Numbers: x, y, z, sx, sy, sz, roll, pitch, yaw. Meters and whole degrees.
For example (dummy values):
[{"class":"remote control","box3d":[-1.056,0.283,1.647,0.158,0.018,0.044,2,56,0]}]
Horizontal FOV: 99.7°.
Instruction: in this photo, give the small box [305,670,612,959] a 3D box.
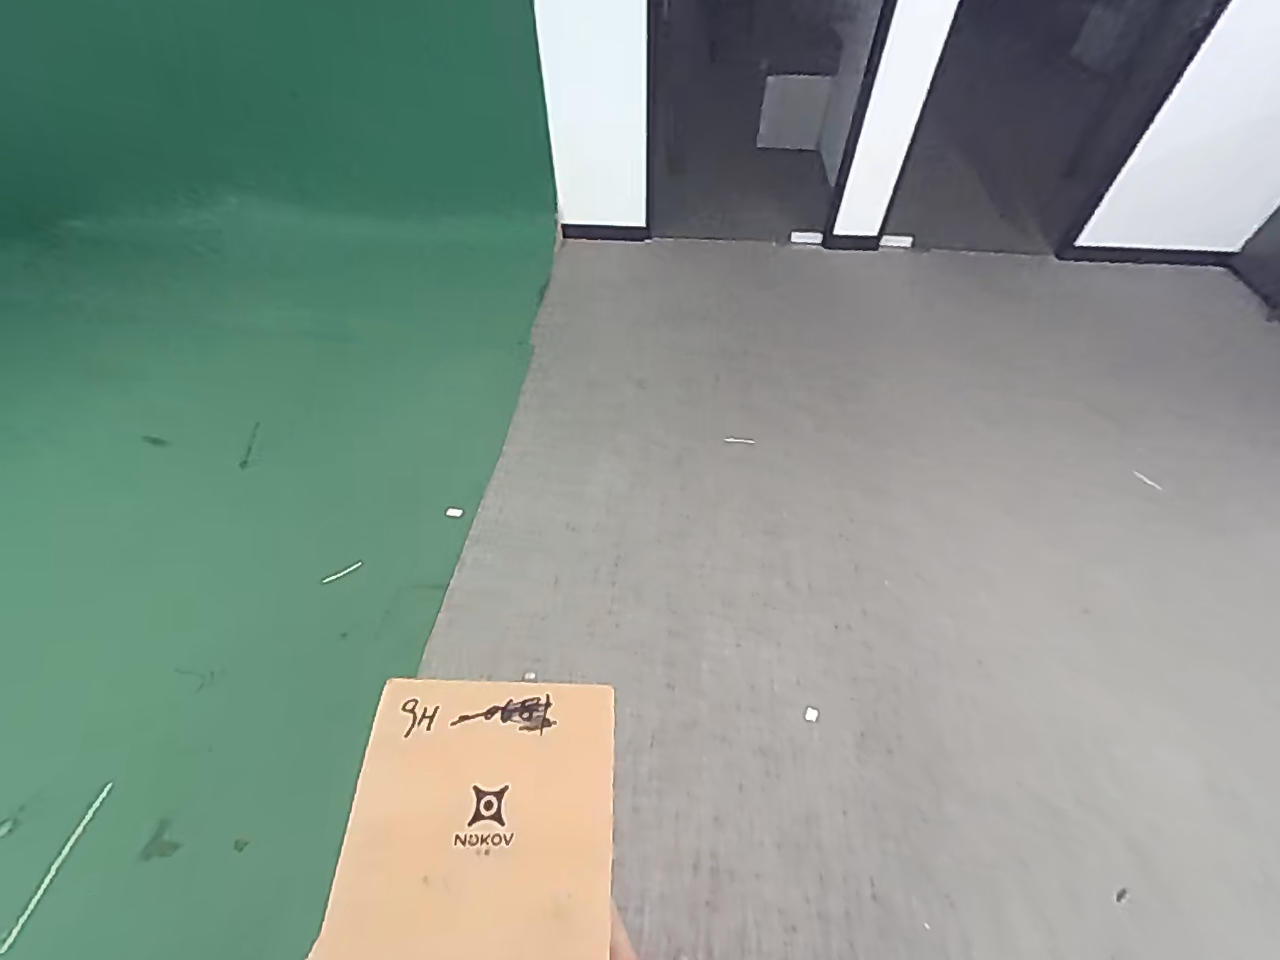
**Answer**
[{"class":"small box","box3d":[-0.113,0.257,0.408,0.168,0.176,0.179,5,56,-7]}]
